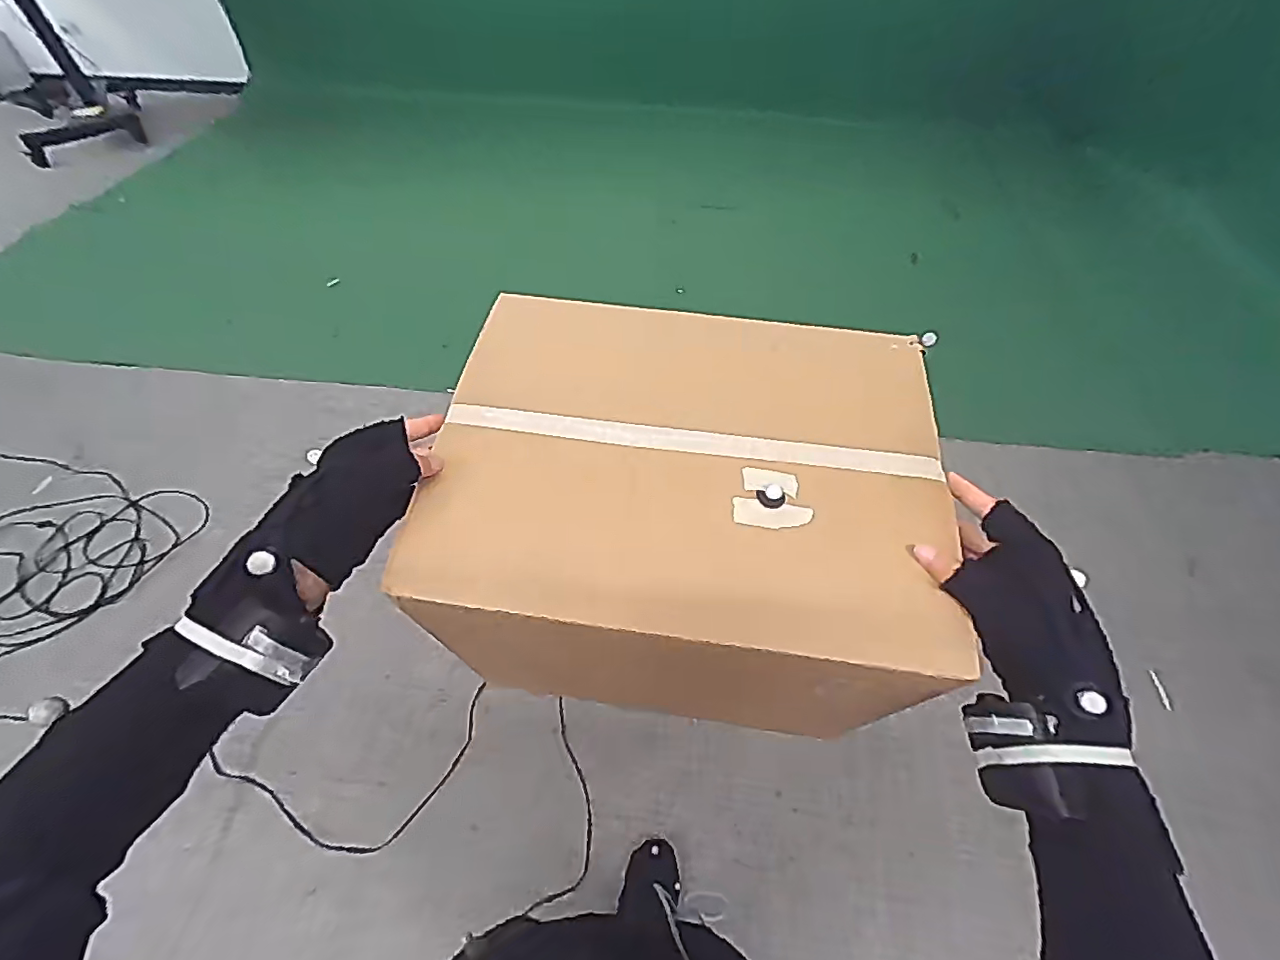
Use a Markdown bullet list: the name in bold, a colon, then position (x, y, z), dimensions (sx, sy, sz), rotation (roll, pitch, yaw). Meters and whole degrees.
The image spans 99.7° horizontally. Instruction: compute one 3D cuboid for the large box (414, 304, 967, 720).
- **large box**: position (0.044, 0.050, 0.584), dimensions (0.408, 0.320, 0.320), rotation (7, 59, 3)
